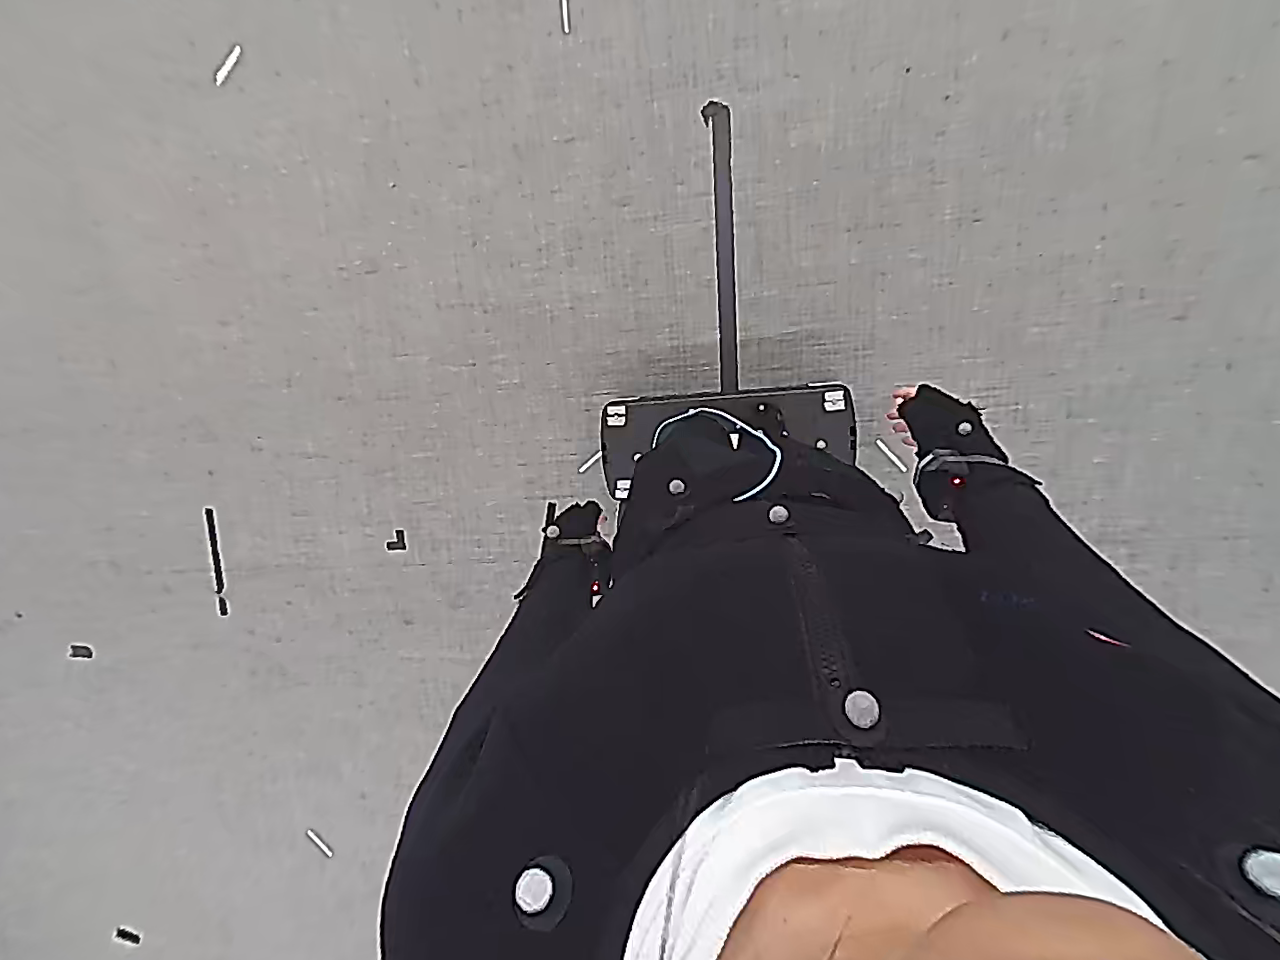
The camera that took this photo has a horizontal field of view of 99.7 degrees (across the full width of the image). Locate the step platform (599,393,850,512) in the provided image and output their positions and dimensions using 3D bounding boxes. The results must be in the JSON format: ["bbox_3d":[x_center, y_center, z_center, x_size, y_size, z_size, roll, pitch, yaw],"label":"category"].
[{"bbox_3d":[0.227,-0.075,1.521,0.684,0.204,0.286,-4,98,9],"label":"step platform"}]
